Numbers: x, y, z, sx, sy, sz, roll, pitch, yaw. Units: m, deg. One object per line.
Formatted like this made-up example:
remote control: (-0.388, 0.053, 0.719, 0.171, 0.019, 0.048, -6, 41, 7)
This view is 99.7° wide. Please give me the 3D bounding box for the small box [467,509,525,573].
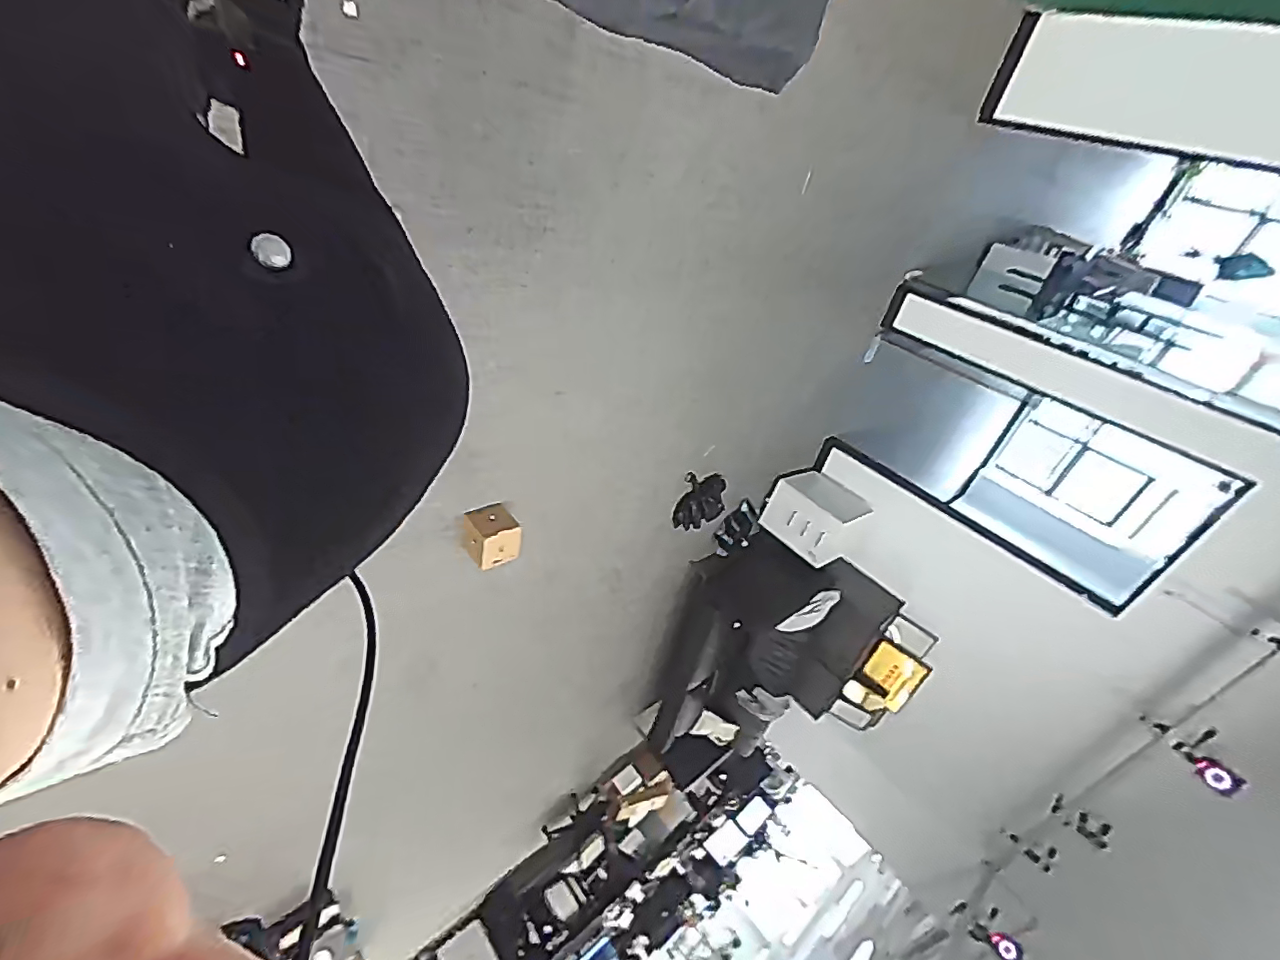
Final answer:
small box: (-0.588, 0.238, 2.198, 0.168, 0.176, 0.179, -19, 134, -40)
